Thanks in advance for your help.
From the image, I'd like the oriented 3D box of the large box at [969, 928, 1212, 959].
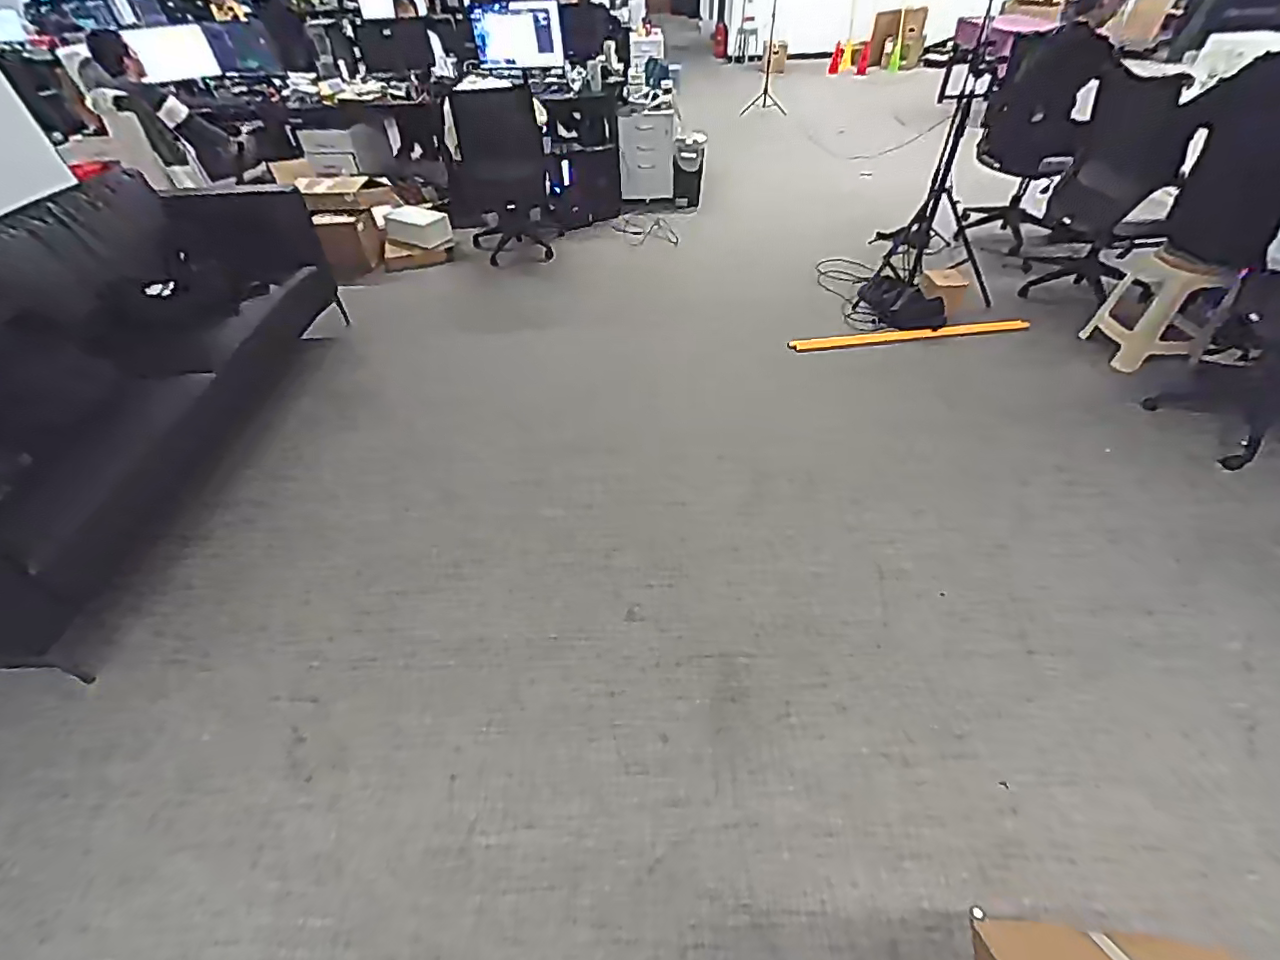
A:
[{"bbox_3d":[0.594,0.767,0.545,0.320,0.408,0.320,1,81,10],"label":"large box"}]
